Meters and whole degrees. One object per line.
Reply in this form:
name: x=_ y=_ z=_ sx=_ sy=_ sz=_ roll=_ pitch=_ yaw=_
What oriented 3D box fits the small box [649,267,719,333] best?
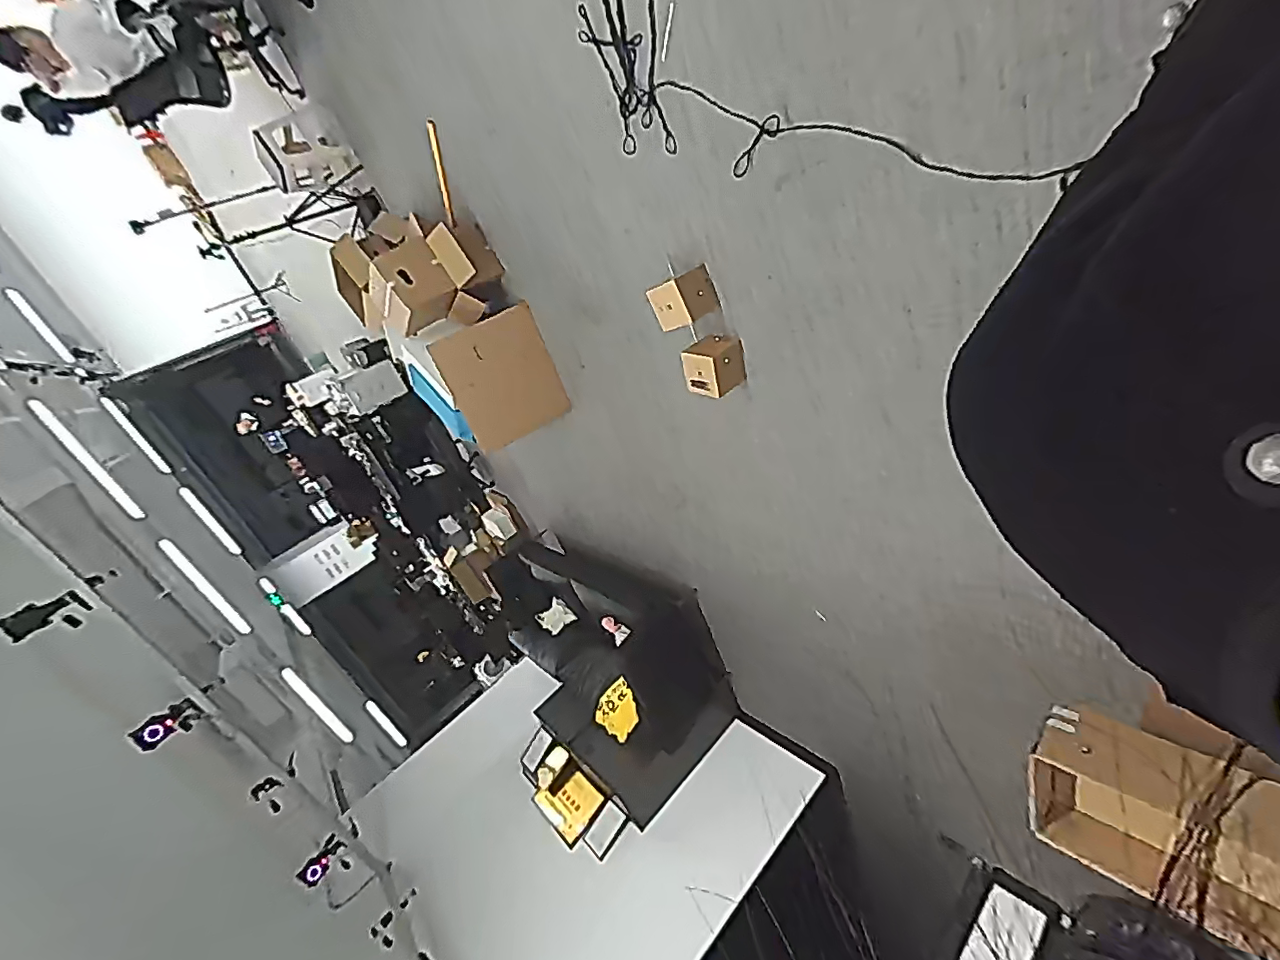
small box: x=0.174 y=-0.676 z=2.029 sx=0.179 sy=0.176 sz=0.168 roll=4 pitch=126 yaw=56
